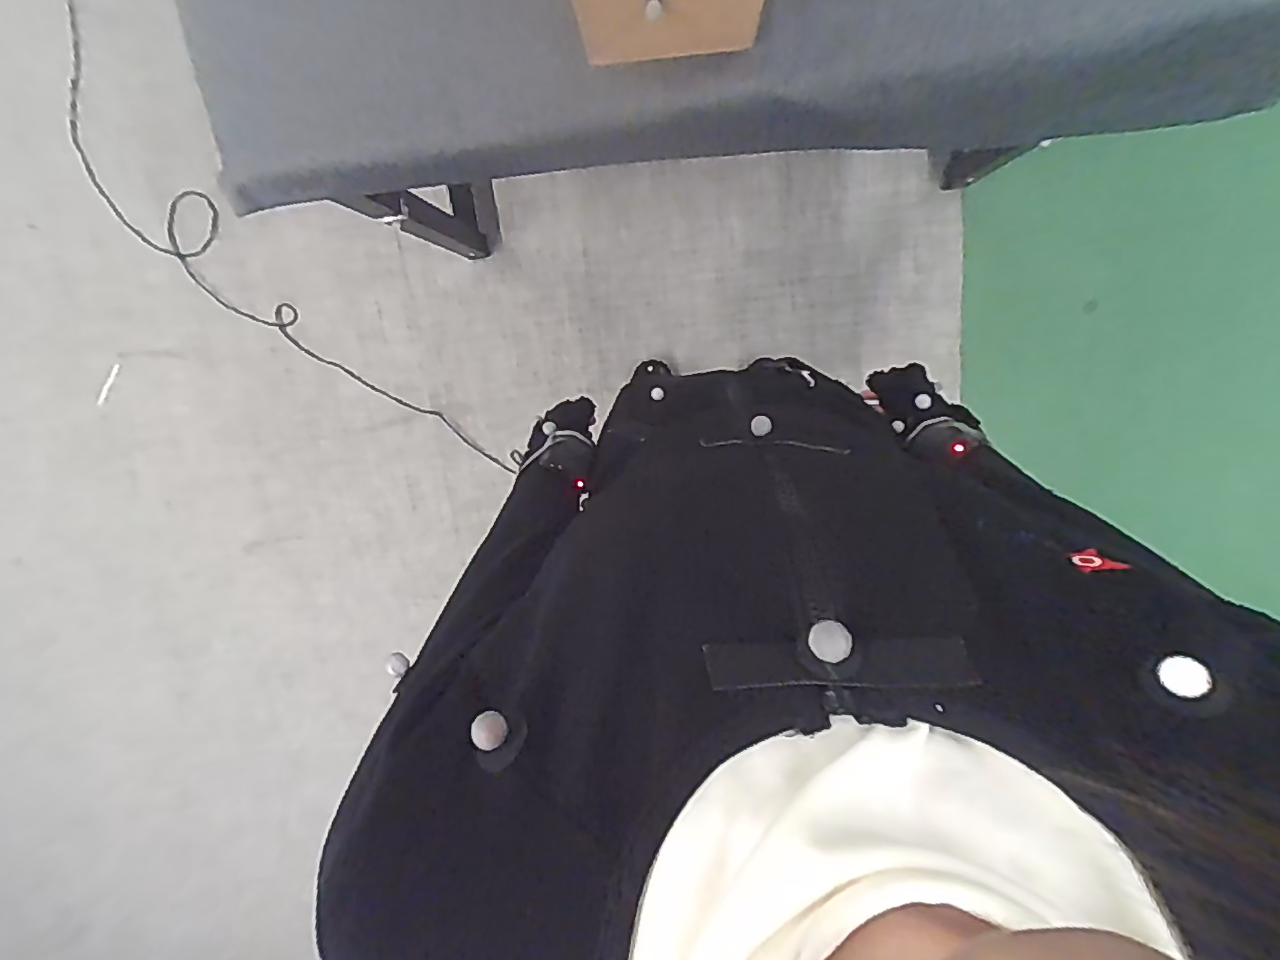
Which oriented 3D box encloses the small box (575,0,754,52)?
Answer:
[{"bbox_3d":[0.020,-0.519,0.480,0.179,0.176,0.168,-3,103,4],"label":"small box"}]
